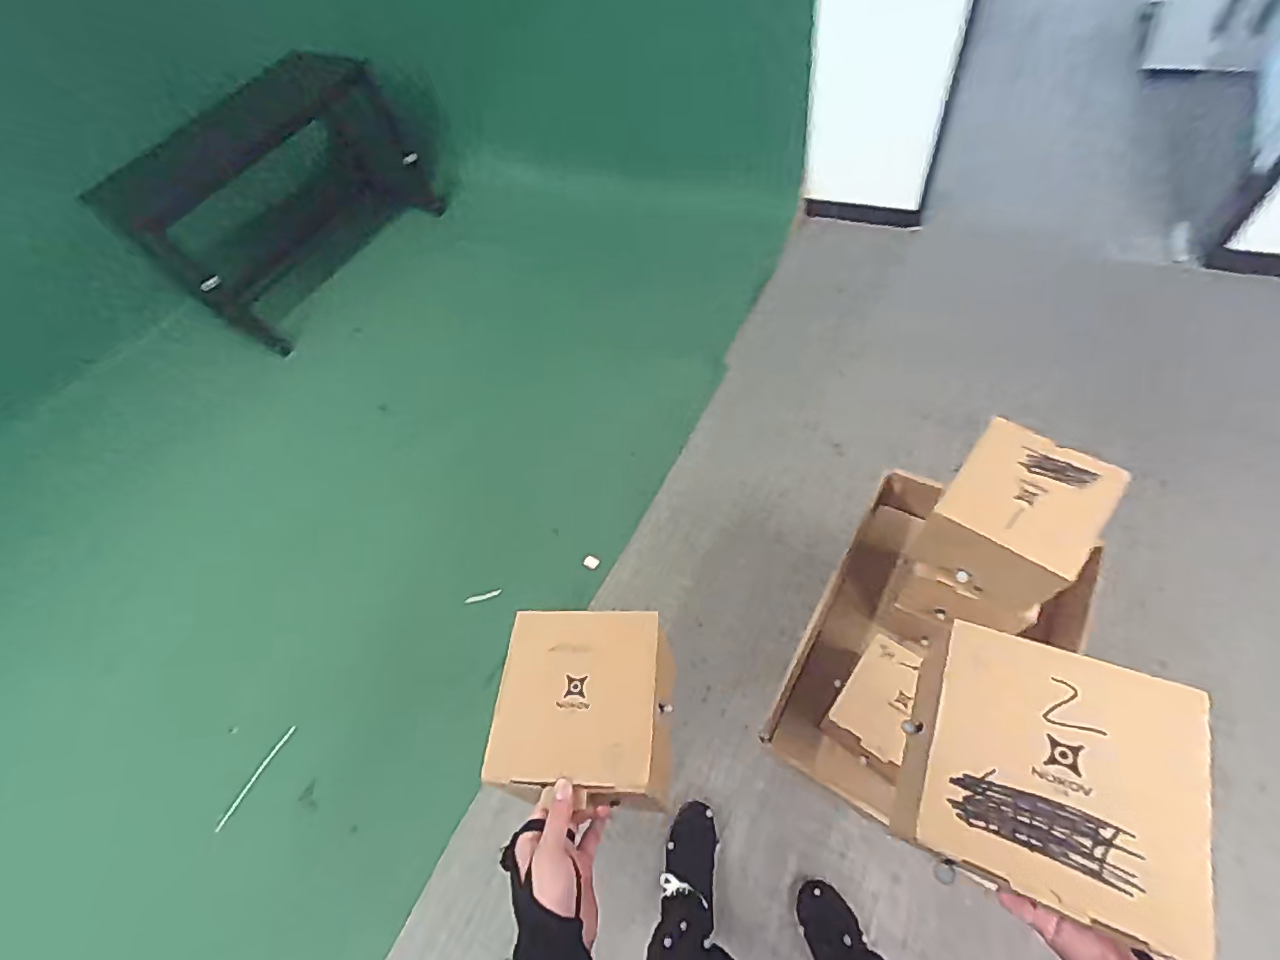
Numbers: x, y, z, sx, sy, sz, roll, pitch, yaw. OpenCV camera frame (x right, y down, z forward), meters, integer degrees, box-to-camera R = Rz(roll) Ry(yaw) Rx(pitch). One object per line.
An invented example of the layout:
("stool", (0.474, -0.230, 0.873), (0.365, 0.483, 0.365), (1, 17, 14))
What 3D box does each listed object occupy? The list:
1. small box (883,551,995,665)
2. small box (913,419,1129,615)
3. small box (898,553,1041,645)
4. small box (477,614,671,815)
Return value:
("small box", (0.579, 0.221, 1.022), (0.168, 0.176, 0.179), (23, 68, 26))
("small box", (0.508, 0.056, 0.750), (0.168, 0.176, 0.179), (33, 73, 28))
("small box", (0.544, 0.142, 0.885), (0.168, 0.176, 0.179), (23, 68, 24))
("small box", (-0.057, 0.267, 0.612), (0.168, 0.176, 0.179), (-2, 51, 10))
